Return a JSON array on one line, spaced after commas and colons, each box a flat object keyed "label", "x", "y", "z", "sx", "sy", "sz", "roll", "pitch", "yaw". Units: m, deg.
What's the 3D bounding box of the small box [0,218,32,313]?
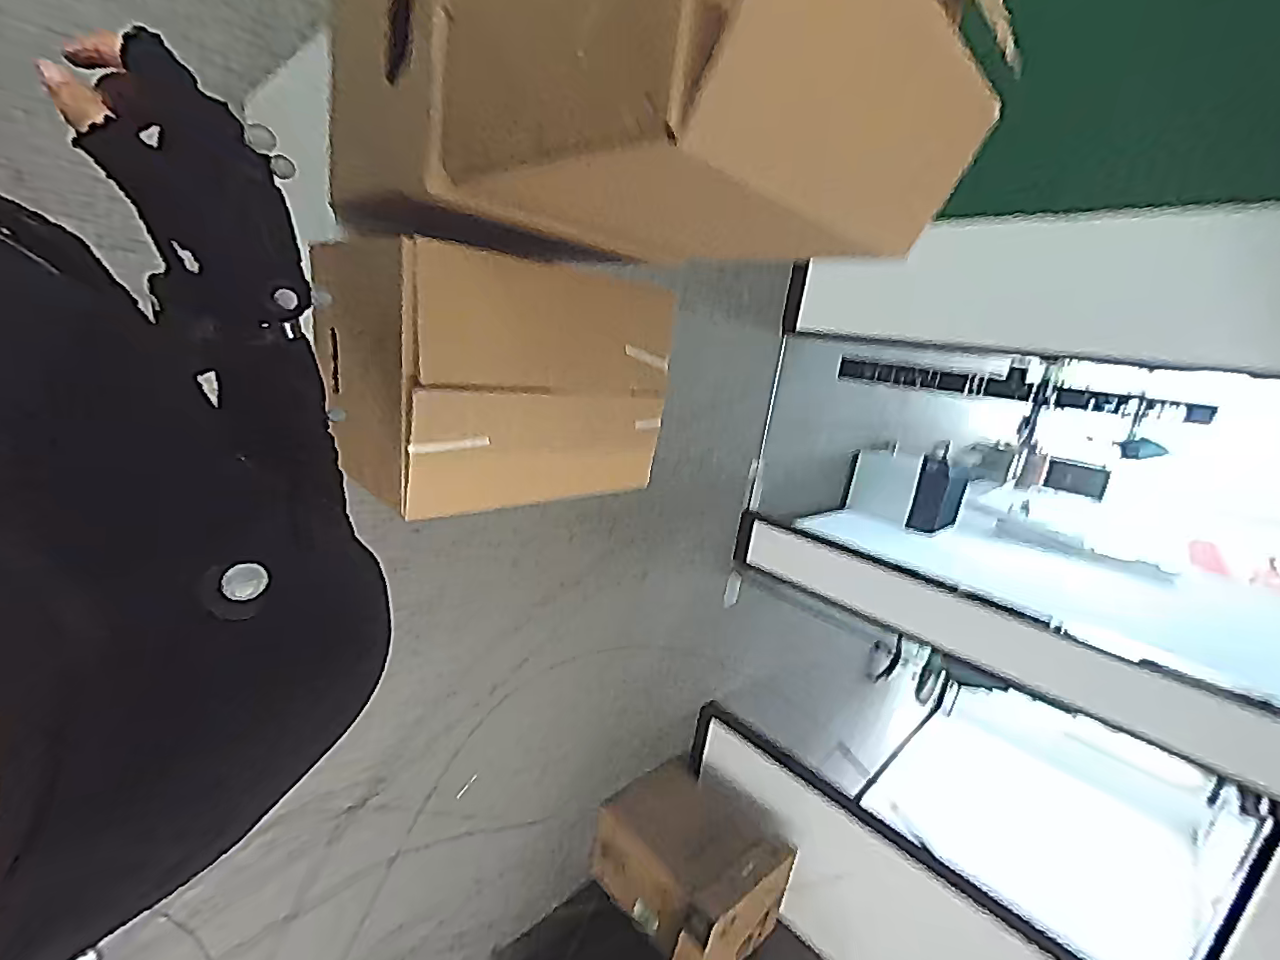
[{"label": "small box", "x": -1.123, "y": -0.358, "z": 0.846, "sx": 0.168, "sy": 0.176, "sz": 0.179, "roll": -32, "pitch": 132, "yaw": -53}]
